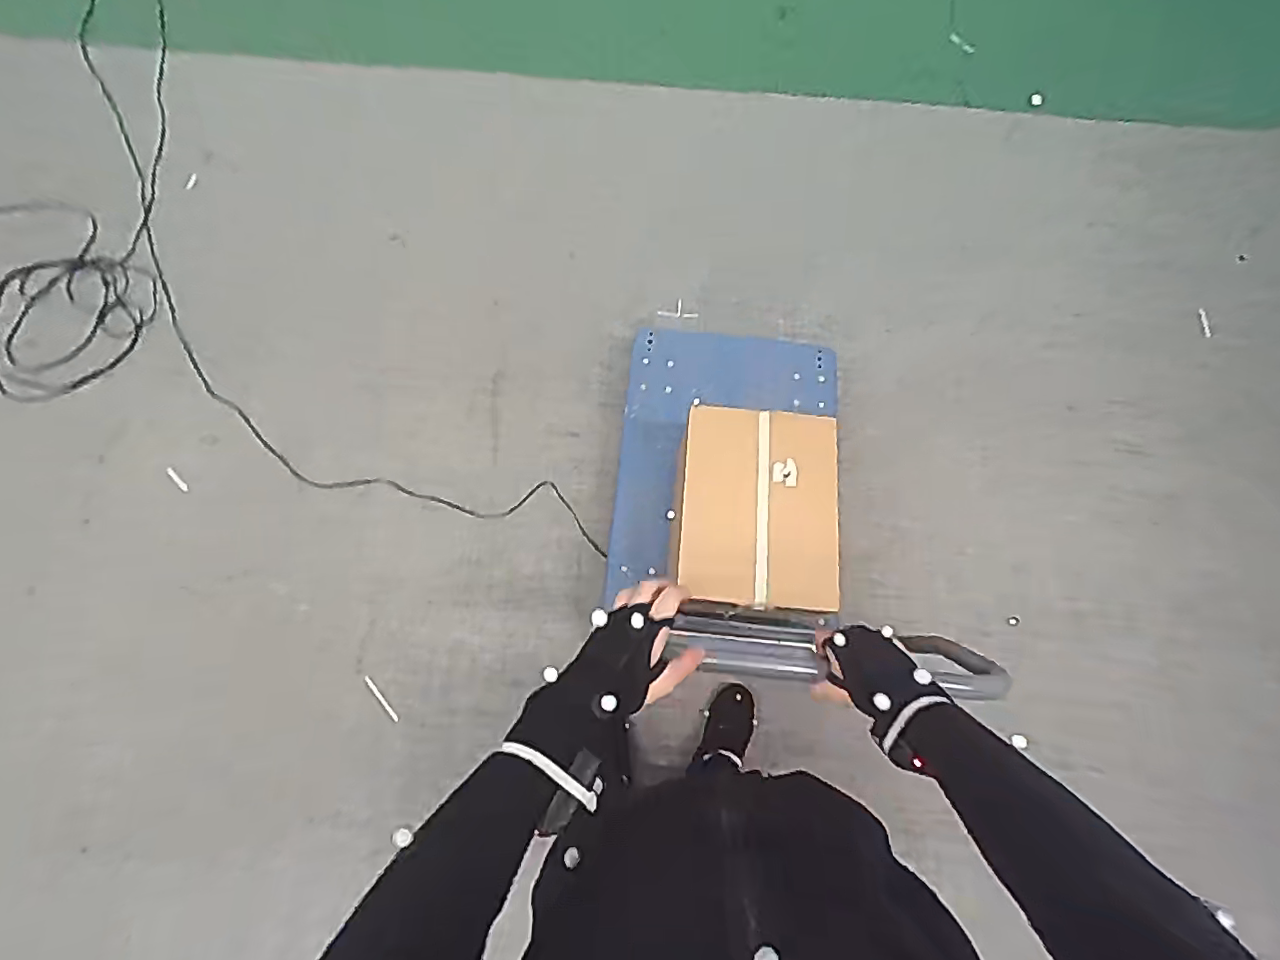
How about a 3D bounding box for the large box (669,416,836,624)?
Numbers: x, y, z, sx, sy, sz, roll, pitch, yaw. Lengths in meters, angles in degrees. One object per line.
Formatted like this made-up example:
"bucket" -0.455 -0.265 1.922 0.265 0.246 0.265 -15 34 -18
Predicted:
"large box" 0.235 0.109 1.238 0.320 0.320 0.408 5 72 0
